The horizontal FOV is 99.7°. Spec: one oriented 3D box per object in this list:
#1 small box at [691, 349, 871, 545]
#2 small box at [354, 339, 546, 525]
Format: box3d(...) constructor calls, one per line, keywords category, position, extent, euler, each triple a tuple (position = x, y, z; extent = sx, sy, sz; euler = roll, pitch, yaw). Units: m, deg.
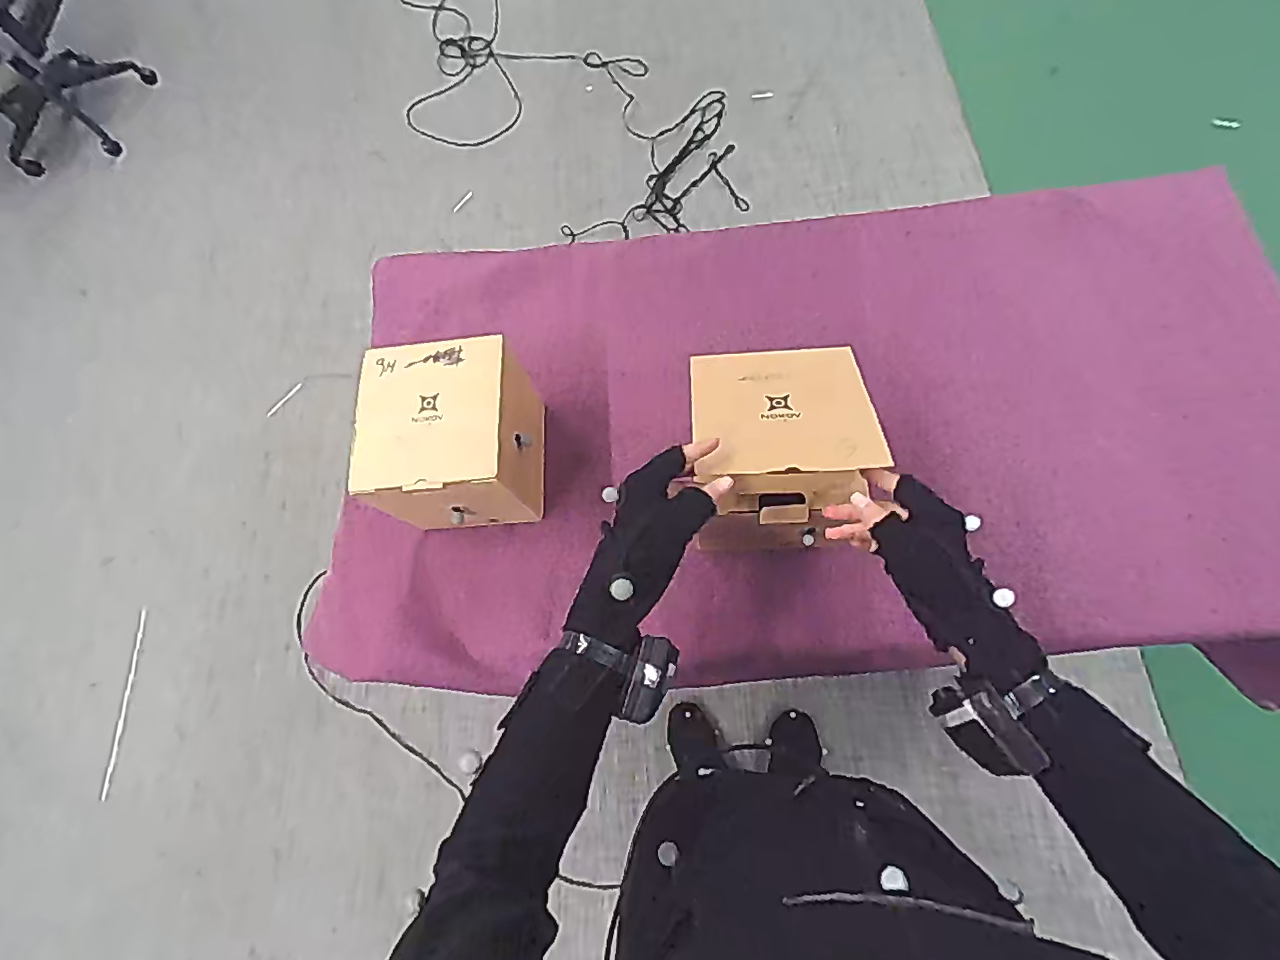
box3d(category="small box", position=(0.145, -0.024, 0.609), extent=(0.168, 0.176, 0.179), euler=(-2, 71, 6))
box3d(category="small box", position=(-0.216, -0.046, 0.662), extent=(0.168, 0.176, 0.179), euler=(-5, 71, 5))
